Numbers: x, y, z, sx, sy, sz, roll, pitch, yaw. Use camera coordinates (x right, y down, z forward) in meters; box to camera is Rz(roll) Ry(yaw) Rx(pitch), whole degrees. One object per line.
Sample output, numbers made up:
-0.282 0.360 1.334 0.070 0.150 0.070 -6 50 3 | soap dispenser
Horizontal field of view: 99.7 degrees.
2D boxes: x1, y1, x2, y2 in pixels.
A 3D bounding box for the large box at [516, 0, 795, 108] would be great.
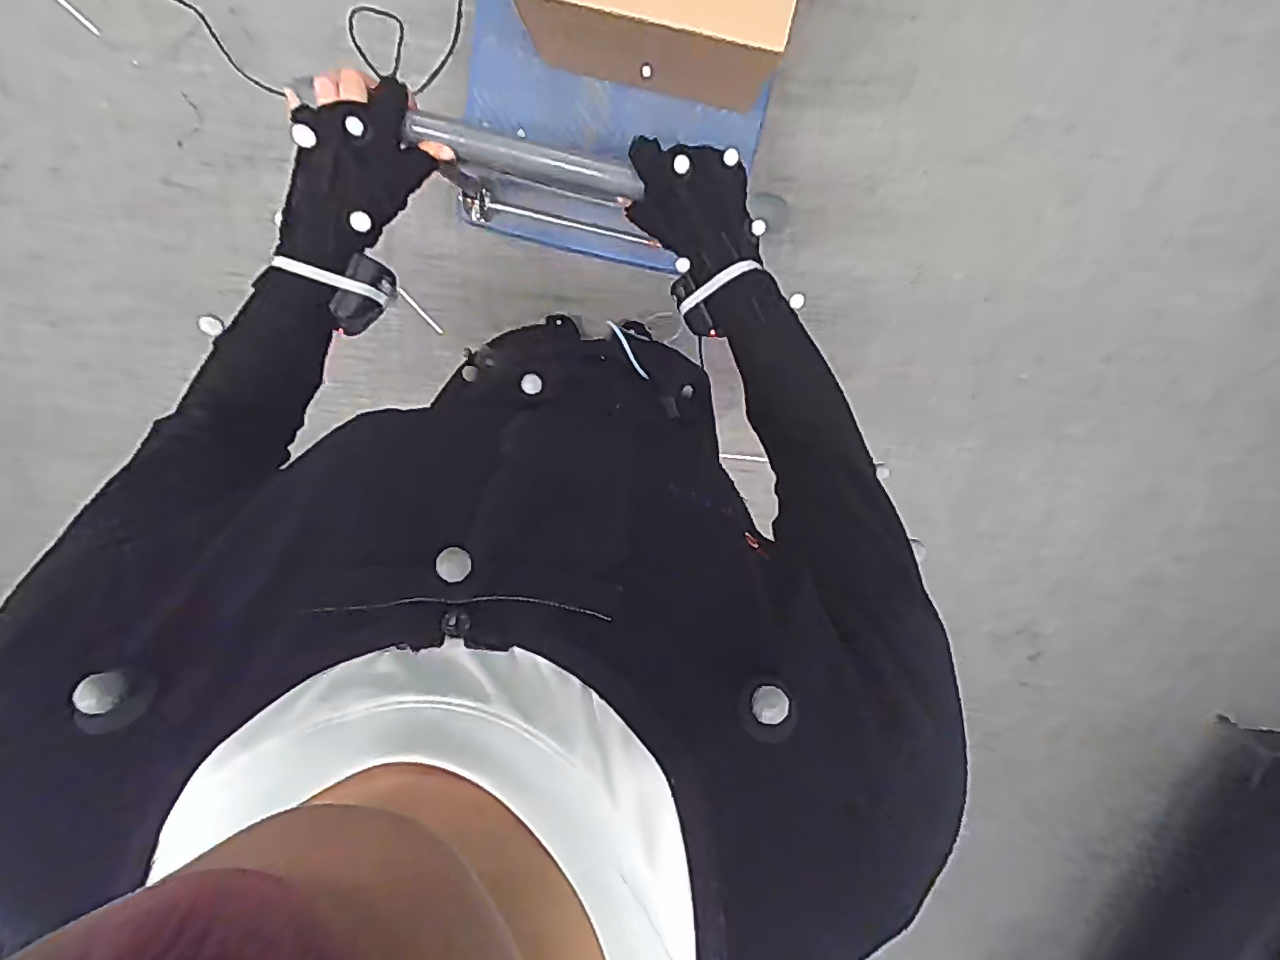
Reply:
0.046 -0.847 0.866 0.408 0.320 0.320 11 110 -2 | large box
